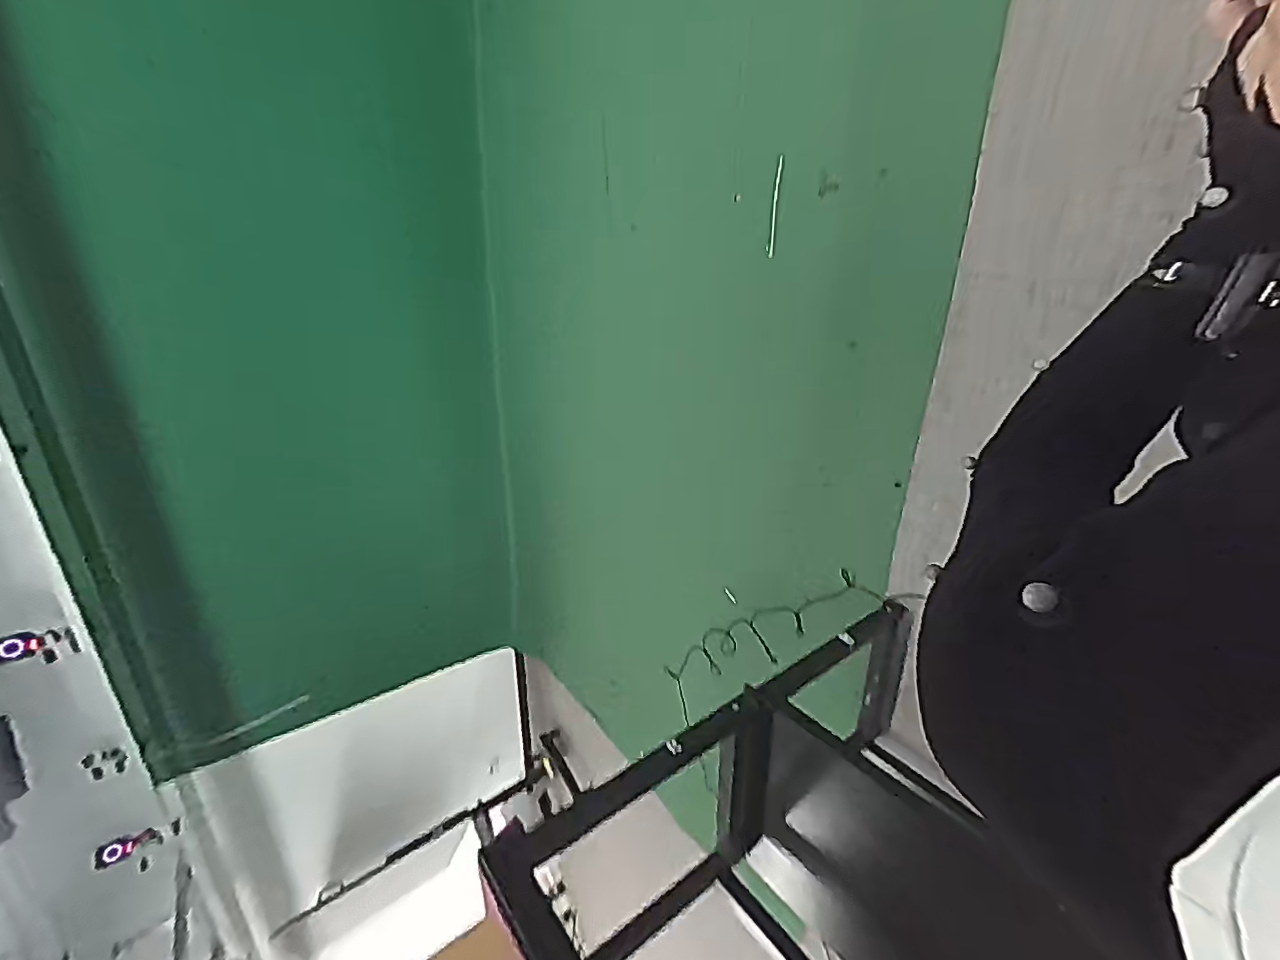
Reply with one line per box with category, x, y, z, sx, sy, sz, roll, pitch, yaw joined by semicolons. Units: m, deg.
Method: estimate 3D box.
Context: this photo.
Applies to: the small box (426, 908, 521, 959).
small box;-0.276;0.886;0.904;0.179;0.176;0.168;30;124;44
